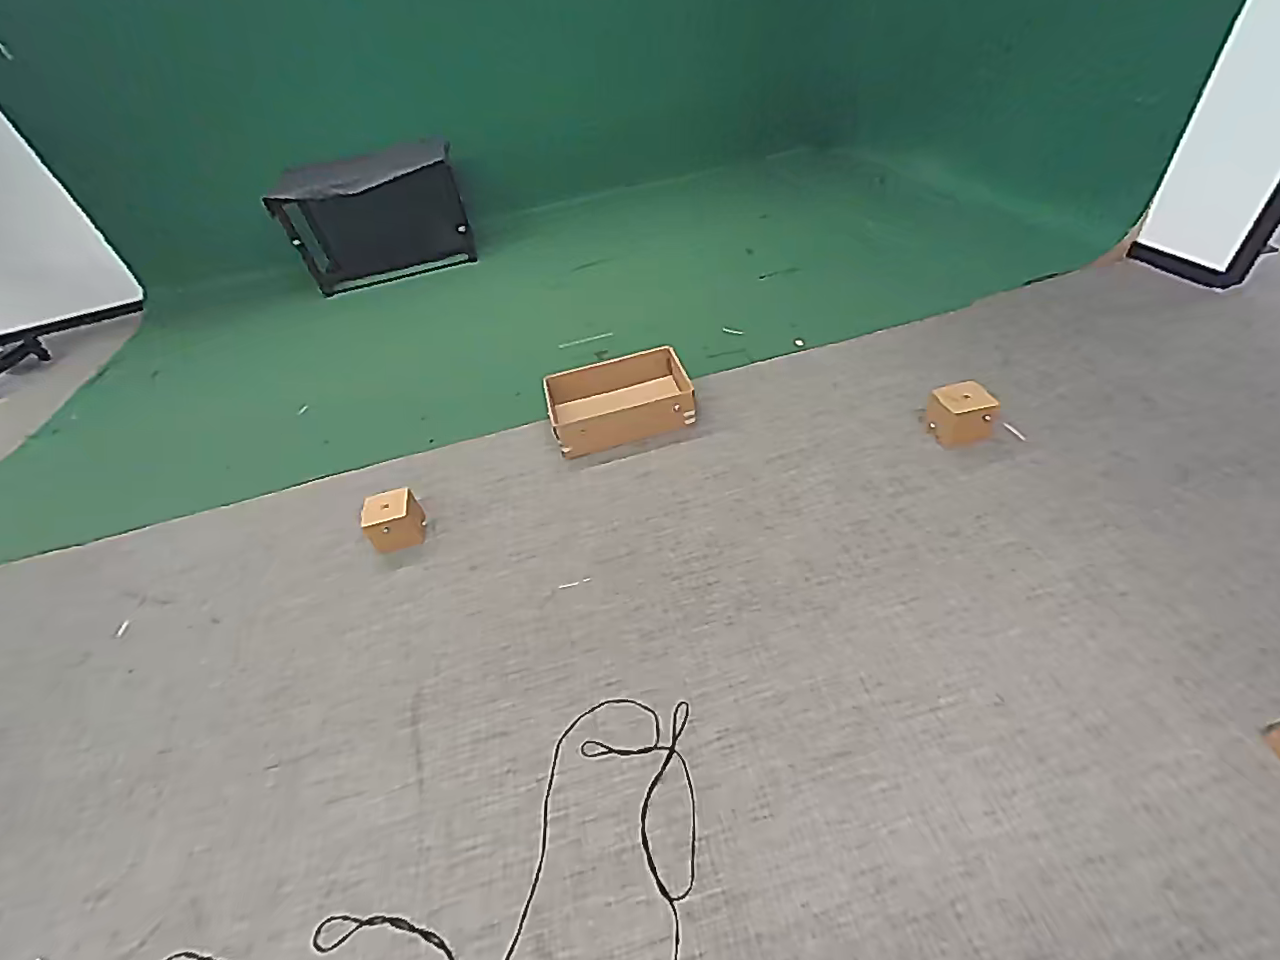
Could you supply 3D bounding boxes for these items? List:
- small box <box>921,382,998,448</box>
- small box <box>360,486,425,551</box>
[{"bbox_3d":[1.212,-0.245,2.064,0.179,0.176,0.168,-12,43,0],"label":"small box"},{"bbox_3d":[-0.960,0.155,2.108,0.179,0.176,0.168,-15,45,-6],"label":"small box"}]
